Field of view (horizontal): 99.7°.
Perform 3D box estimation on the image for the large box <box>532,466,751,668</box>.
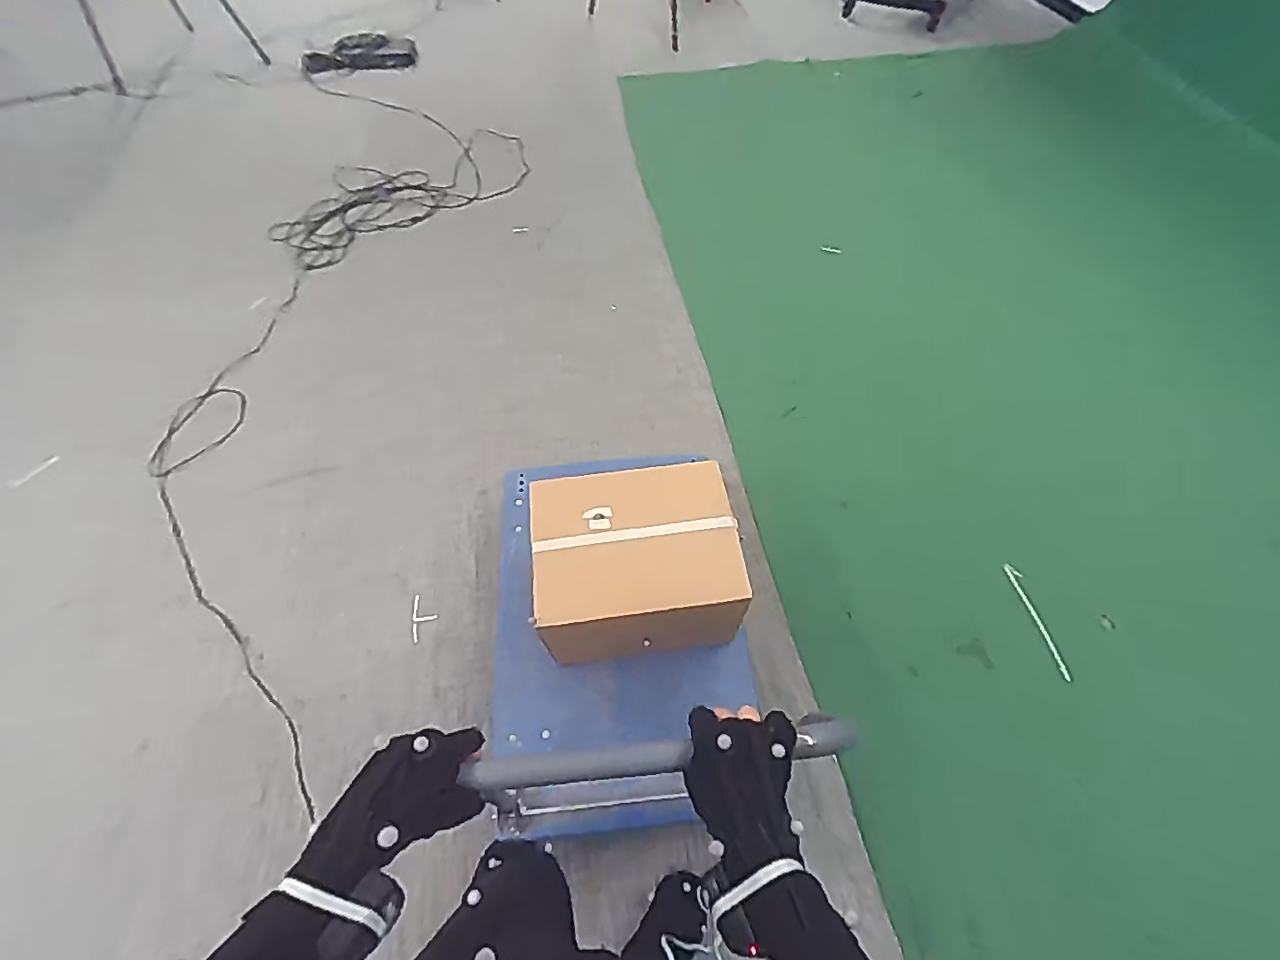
[{"bbox_3d":[-0.003,0.204,1.207,0.408,0.320,0.320,-8,58,-3],"label":"large box"}]
